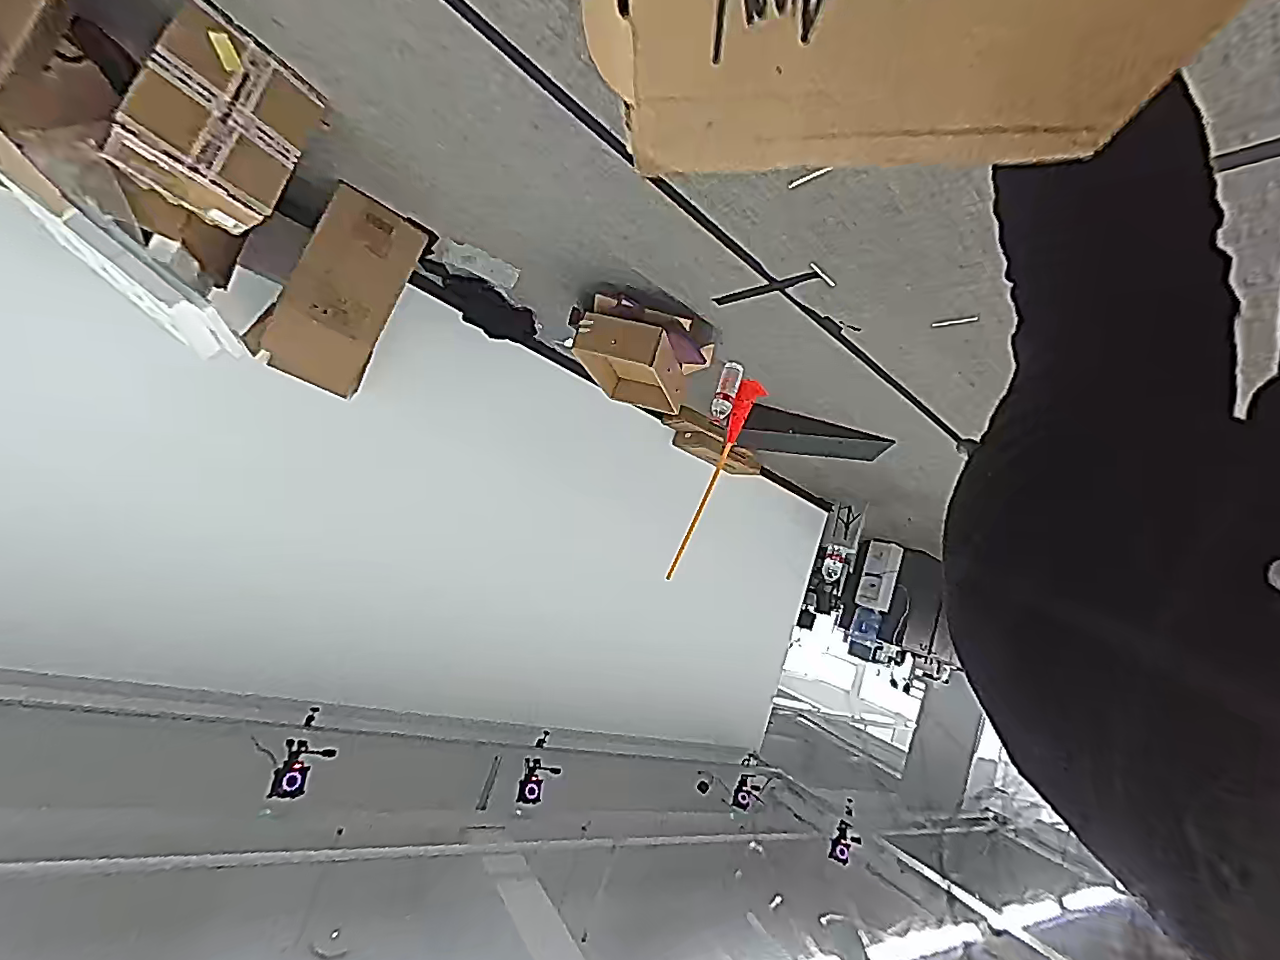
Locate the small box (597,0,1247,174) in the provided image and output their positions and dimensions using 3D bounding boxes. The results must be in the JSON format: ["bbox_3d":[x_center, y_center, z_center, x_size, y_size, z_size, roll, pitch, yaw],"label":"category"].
[{"bbox_3d":[0.077,-0.214,0.139,0.179,0.176,0.168,1,170,2],"label":"small box"}]
